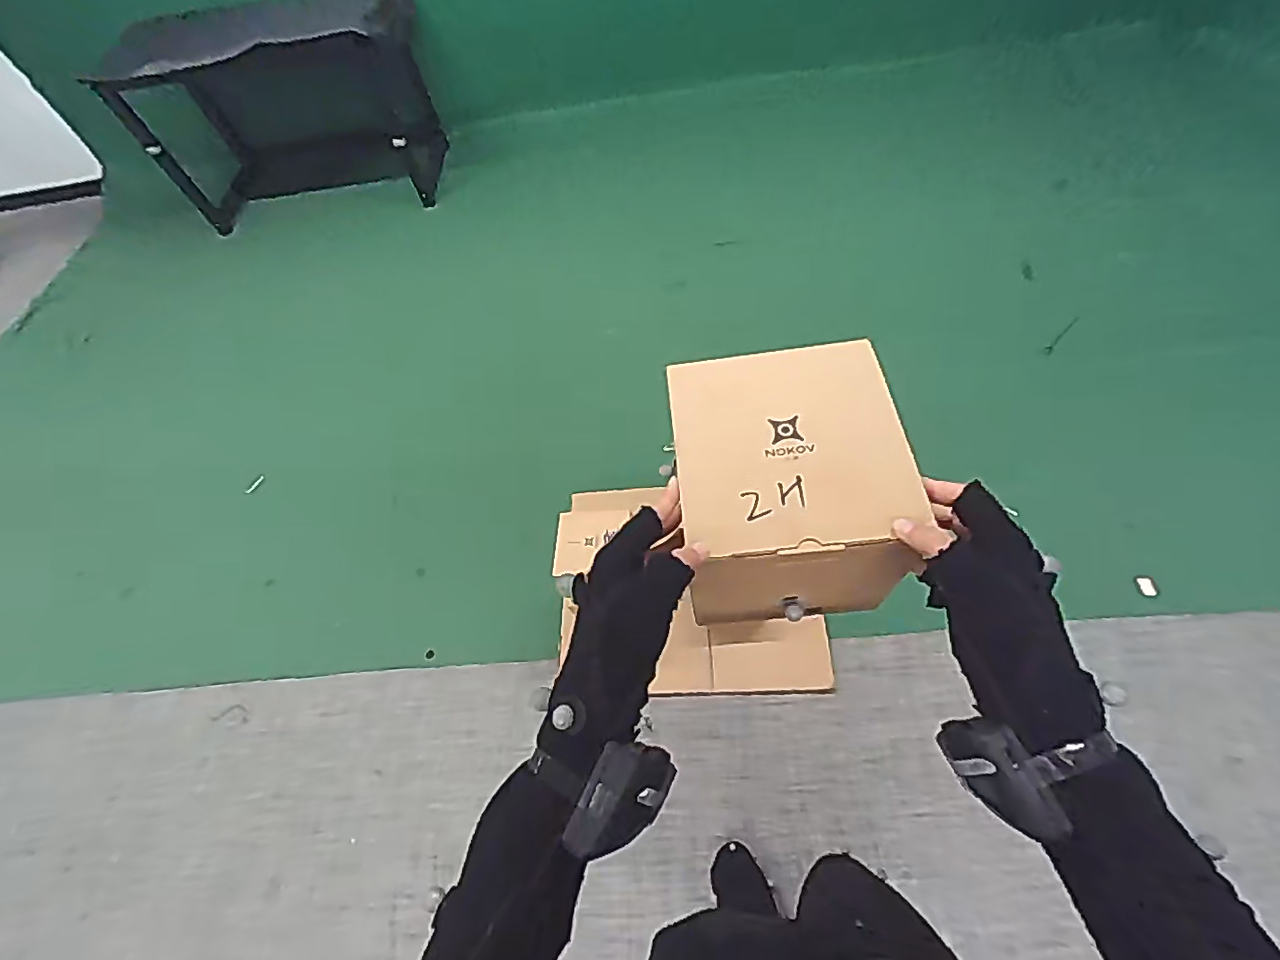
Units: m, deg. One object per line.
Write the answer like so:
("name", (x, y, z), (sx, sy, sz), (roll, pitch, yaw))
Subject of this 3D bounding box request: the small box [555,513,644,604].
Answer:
("small box", (-0.087, 0.192, 1.300), (0.179, 0.176, 0.168), (-3, 57, 10))

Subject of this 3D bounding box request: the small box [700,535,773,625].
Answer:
("small box", (0.245, 0.261, 1.401), (0.168, 0.176, 0.179), (-6, 57, 6))
